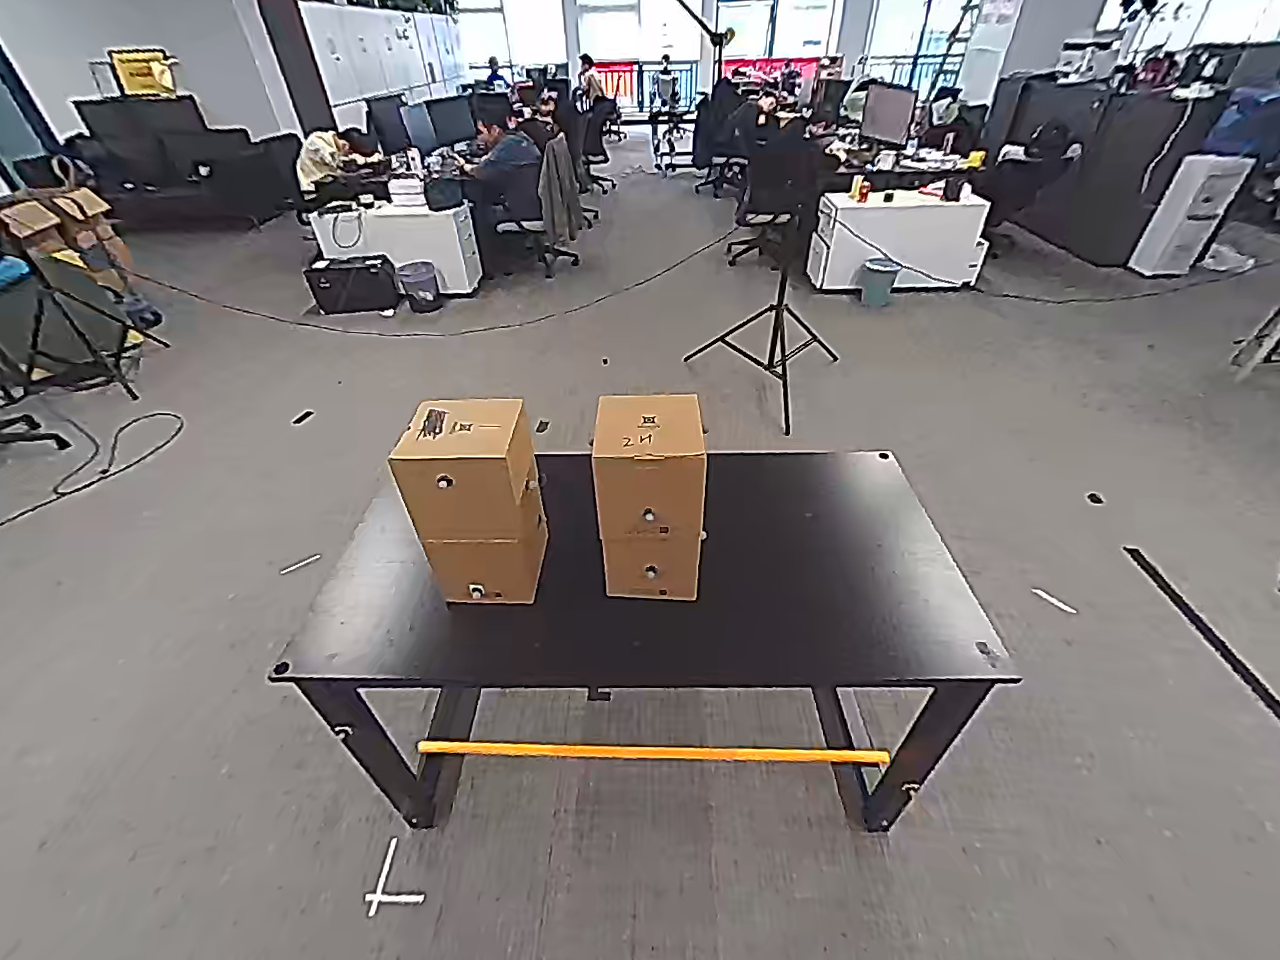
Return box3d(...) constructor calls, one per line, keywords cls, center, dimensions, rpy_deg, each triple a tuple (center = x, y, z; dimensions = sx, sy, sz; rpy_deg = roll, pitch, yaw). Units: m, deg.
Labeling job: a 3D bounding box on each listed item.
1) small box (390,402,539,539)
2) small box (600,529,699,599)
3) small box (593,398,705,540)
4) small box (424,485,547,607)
box3d(cls="small box", center=(-0.277, -0.015, 0.897), dimensions=(0.179, 0.176, 0.168), rpy_deg=(-1, 39, 1))
box3d(cls="small box", center=(0.025, 0.102, 1.004), dimensions=(0.168, 0.176, 0.179), rpy_deg=(2, 40, 5))
box3d(cls="small box", center=(0.015, -0.021, 0.892), dimensions=(0.168, 0.176, 0.179), rpy_deg=(-1, 39, 1))
box3d(cls="small box", center=(-0.273, 0.113, 1.002), dimensions=(0.168, 0.176, 0.179), rpy_deg=(-1, 40, 2))
